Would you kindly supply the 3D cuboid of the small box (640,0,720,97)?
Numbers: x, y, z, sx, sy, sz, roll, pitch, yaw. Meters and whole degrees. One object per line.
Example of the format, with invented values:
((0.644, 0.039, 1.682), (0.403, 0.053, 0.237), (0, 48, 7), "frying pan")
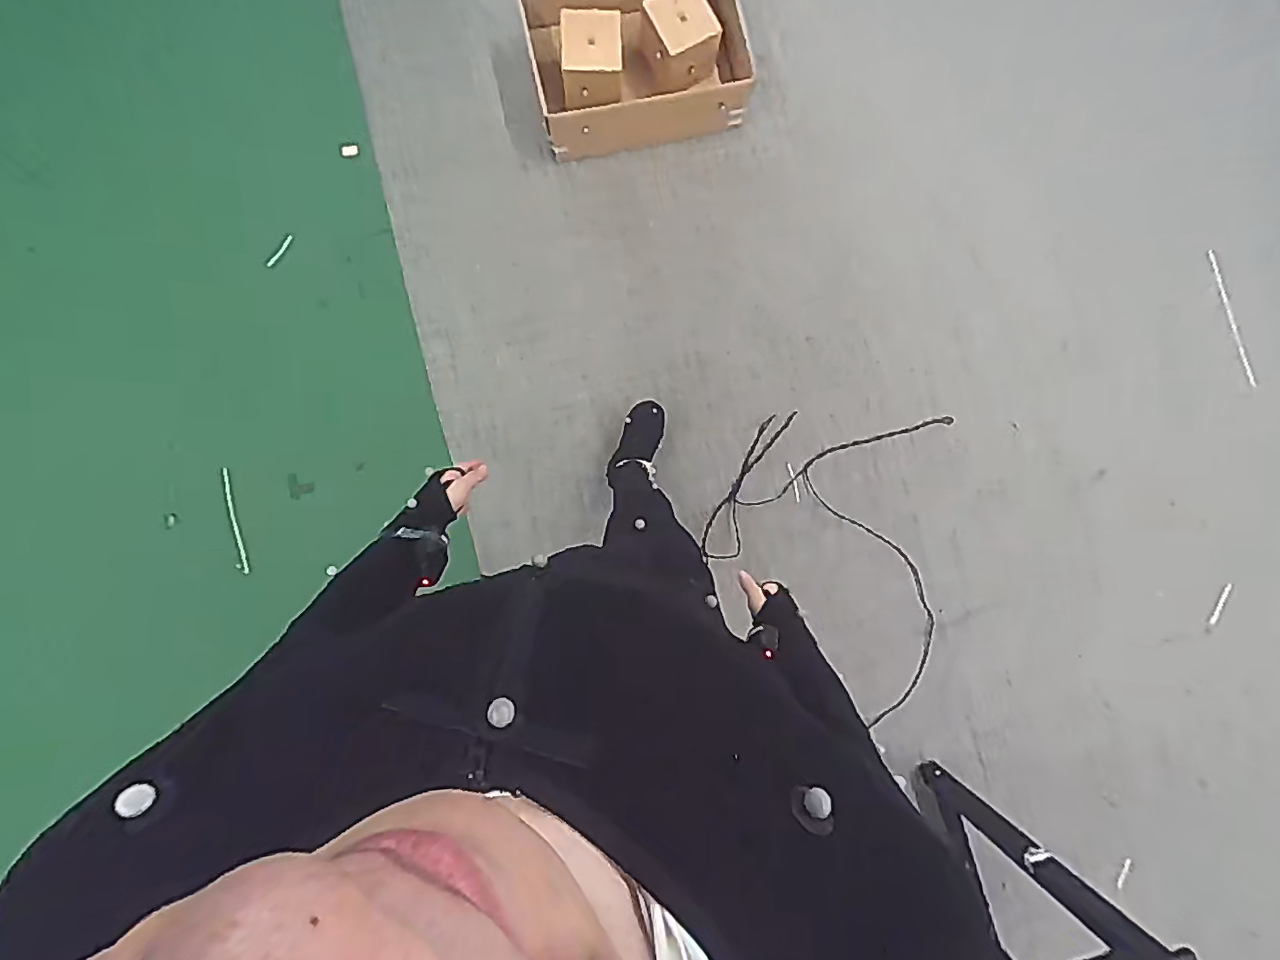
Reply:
((0.110, -1.263, 1.571), (0.168, 0.176, 0.179), (-28, 89, -3), "small box")

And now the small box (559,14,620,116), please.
((-0.141, -1.187, 1.558), (0.168, 0.176, 0.179), (-2, 86, -3), "small box")
